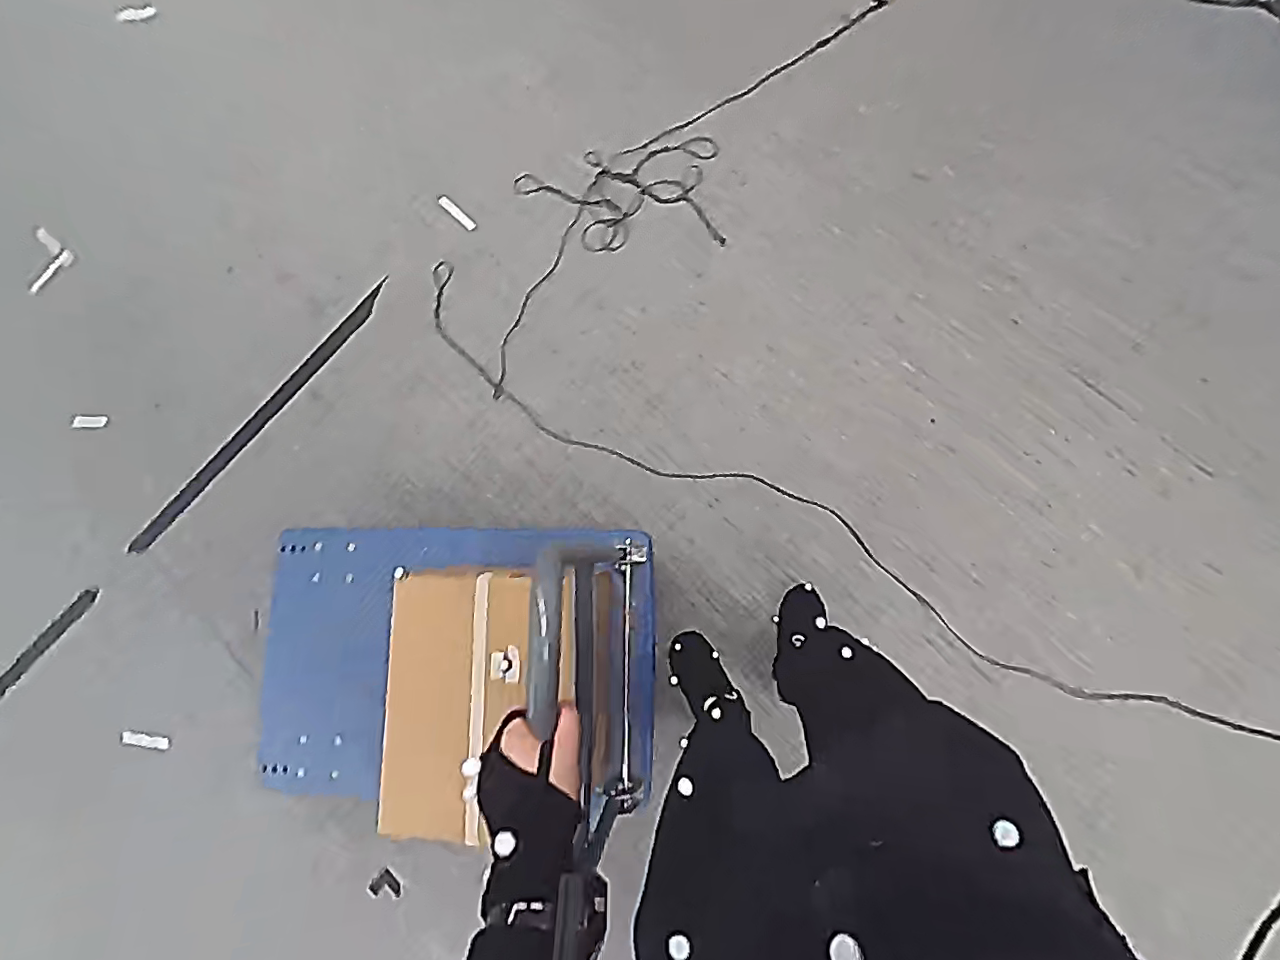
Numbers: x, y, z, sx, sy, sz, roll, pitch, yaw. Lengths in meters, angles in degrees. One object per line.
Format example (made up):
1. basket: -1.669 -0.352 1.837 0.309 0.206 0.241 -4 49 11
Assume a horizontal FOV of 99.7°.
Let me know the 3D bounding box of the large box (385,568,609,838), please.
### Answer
1. large box: -0.235 0.374 1.011 0.320 0.320 0.408 0 82 5
